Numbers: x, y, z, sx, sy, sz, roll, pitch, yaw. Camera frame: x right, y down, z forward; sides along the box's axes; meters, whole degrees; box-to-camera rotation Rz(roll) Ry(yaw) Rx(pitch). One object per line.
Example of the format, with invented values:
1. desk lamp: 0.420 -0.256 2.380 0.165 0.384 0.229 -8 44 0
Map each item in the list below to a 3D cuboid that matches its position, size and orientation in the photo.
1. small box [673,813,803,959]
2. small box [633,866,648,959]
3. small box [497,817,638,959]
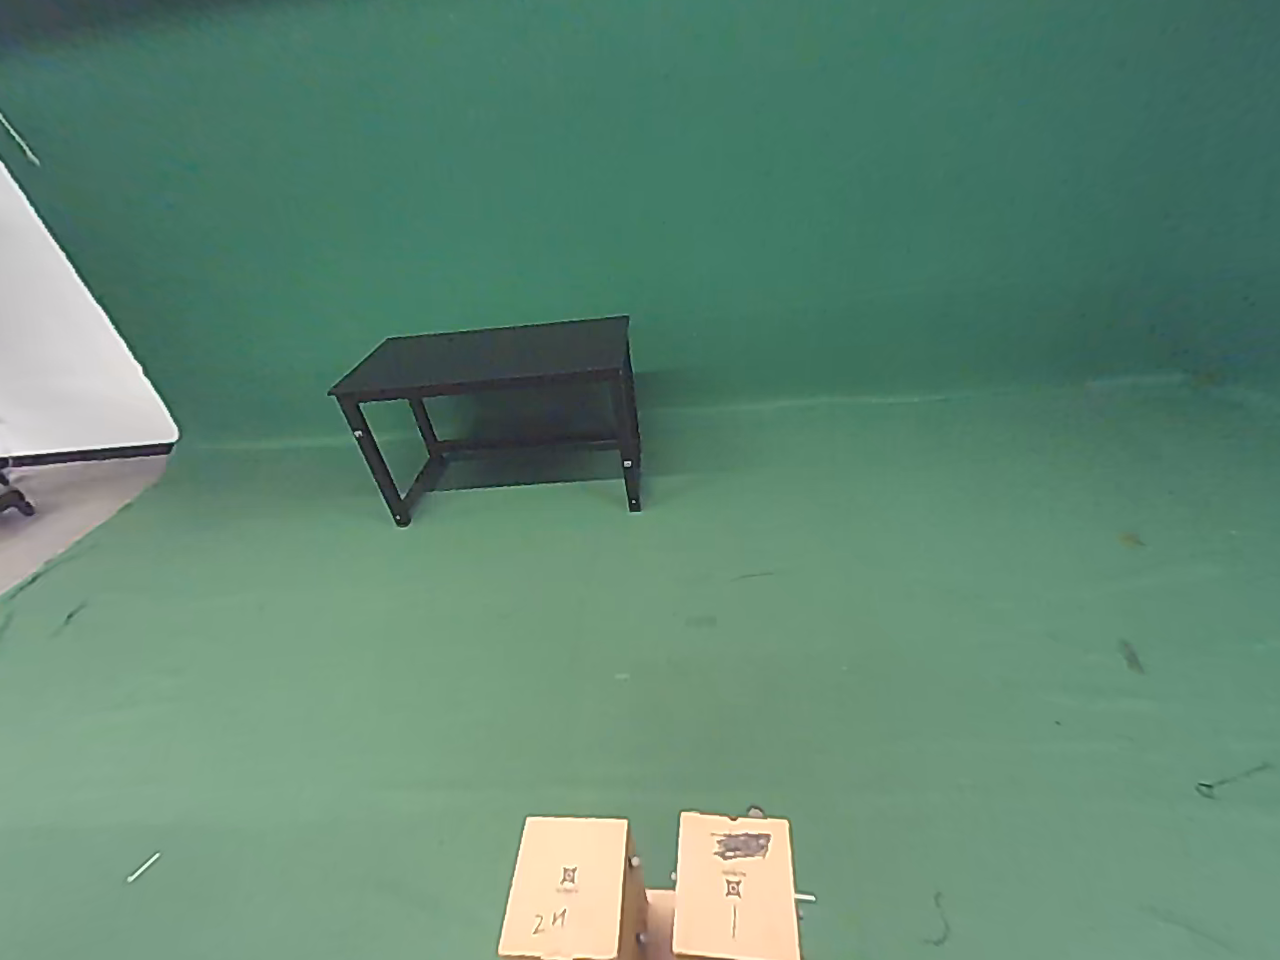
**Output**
1. small box: 0.144 0.627 0.793 0.168 0.176 0.179 -2 35 11
2. small box: -0.080 0.781 0.914 0.168 0.176 0.179 -2 34 8
3. small box: -0.096 0.646 0.820 0.168 0.176 0.179 -3 34 7
